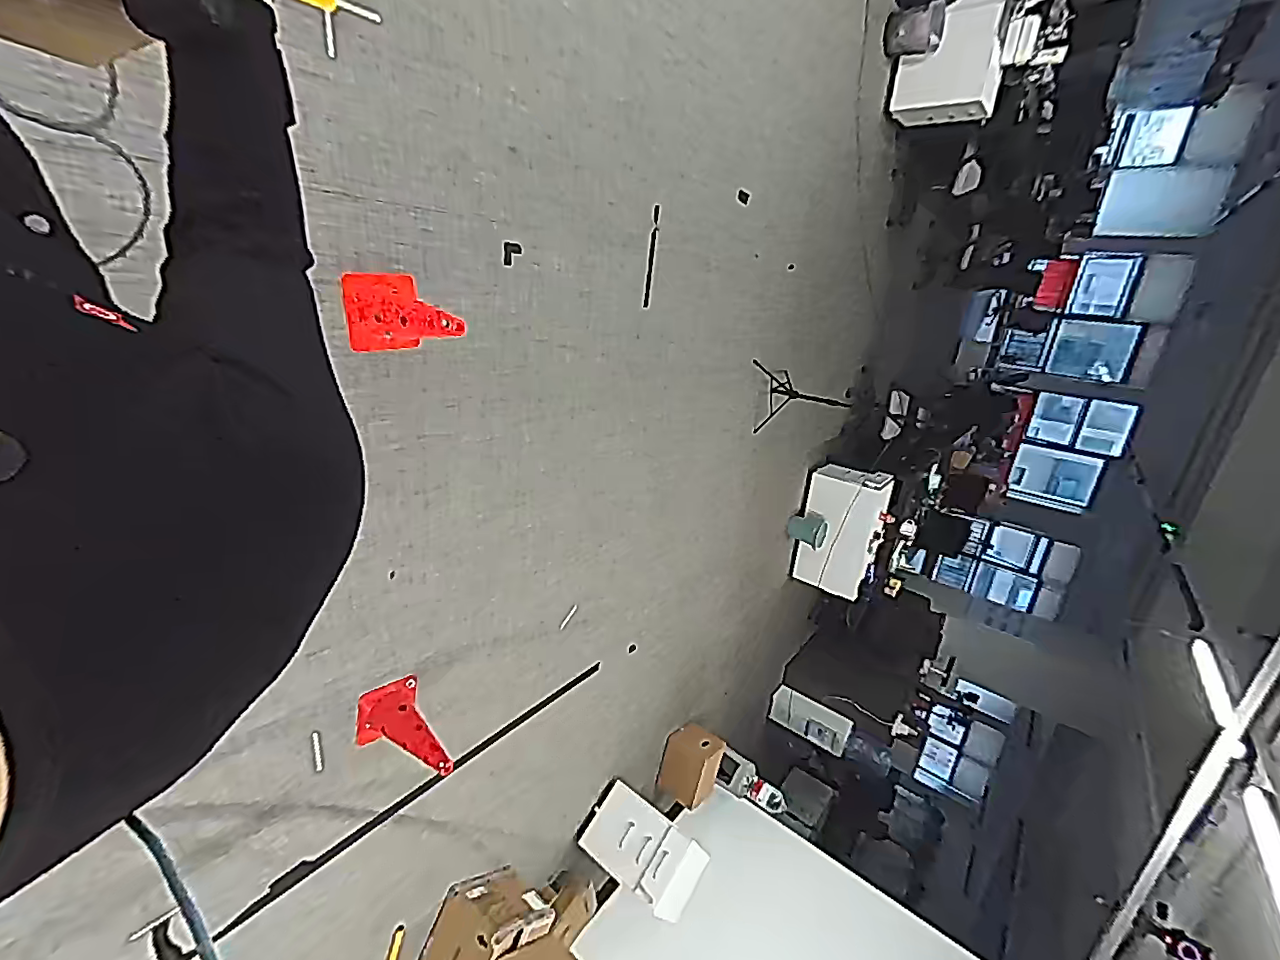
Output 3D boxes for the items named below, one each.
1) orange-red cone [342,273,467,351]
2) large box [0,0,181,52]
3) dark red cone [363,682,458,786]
[{"bbox_3d":[-0.558,-0.407,1.357,0.198,0.360,0.199,-22,122,-49],"label":"orange-red cone"},{"bbox_3d":[-0.524,-0.485,0.253,0.408,0.320,0.320,-12,119,-52],"label":"large box"},{"bbox_3d":[-0.704,0.834,1.717,0.201,0.394,0.202,-9,113,-51],"label":"dark red cone"}]
